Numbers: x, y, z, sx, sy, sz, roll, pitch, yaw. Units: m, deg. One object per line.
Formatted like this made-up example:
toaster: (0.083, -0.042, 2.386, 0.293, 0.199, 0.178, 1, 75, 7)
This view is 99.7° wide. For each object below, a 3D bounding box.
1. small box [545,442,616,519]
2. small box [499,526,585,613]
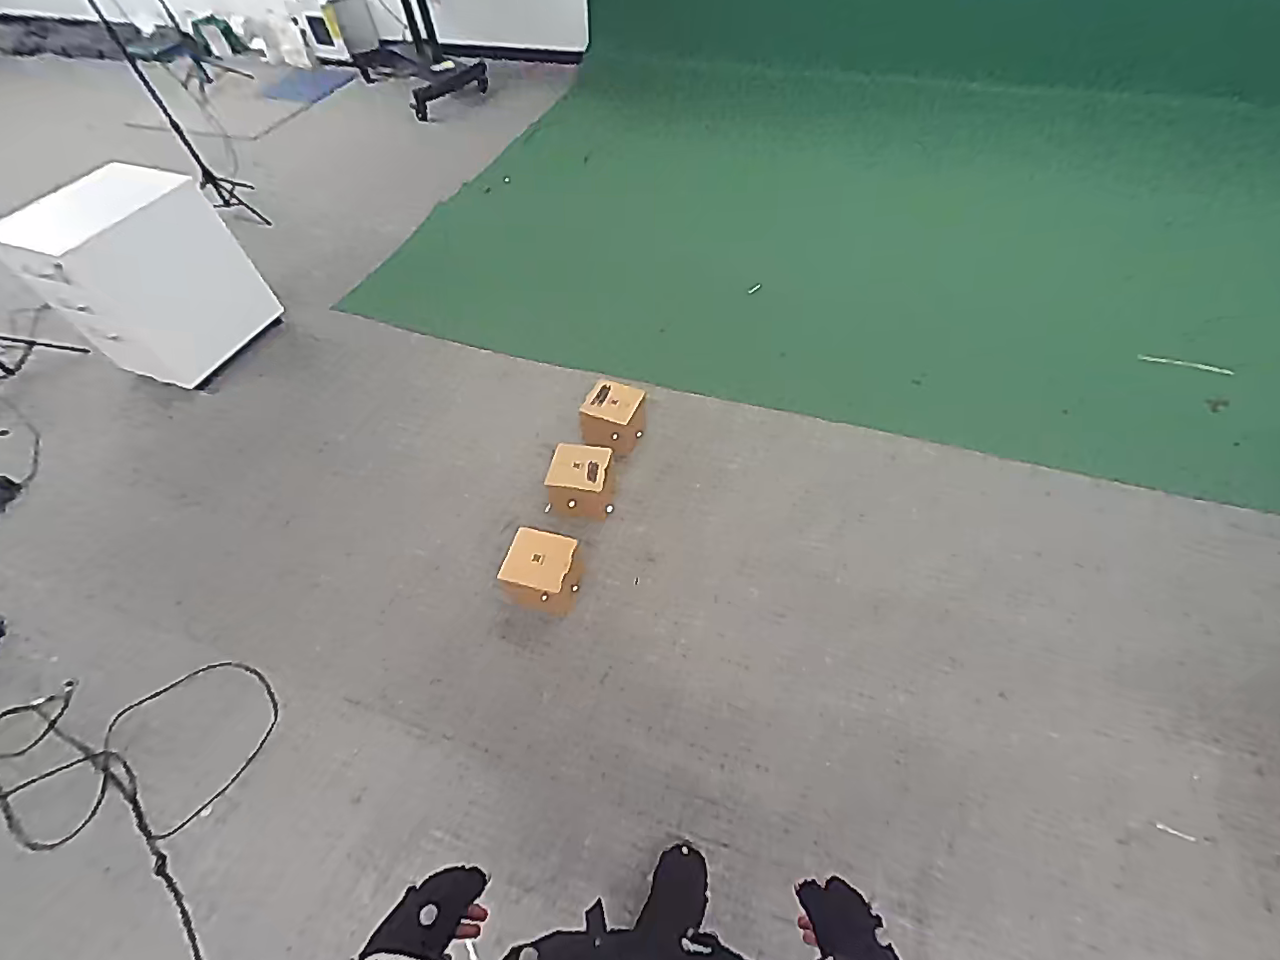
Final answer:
small box: (-0.179, 0.006, 1.692, 0.179, 0.176, 0.168, 7, 54, 8)
small box: (-0.266, 0.255, 1.515, 0.179, 0.176, 0.168, 11, 56, 10)
